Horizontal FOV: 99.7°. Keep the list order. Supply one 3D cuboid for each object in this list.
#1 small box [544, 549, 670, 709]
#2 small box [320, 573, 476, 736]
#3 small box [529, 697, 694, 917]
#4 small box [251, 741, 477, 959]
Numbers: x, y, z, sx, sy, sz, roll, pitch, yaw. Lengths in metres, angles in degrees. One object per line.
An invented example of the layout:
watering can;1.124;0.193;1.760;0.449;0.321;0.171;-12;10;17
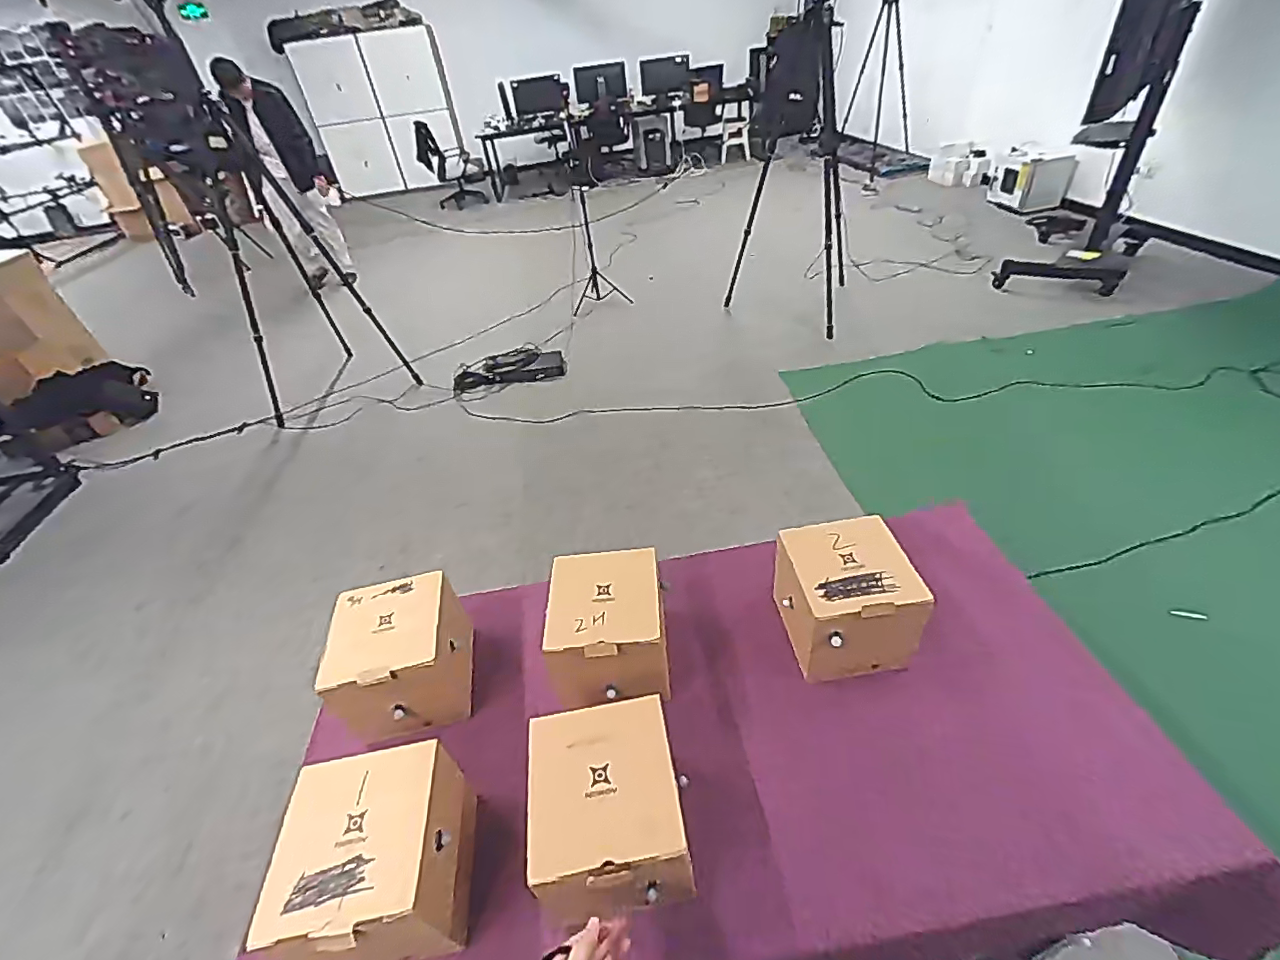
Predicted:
small box;-0.043;0.234;0.853;0.168;0.176;0.179;-6;40;4
small box;-0.367;0.281;0.857;0.168;0.176;0.179;-13;41;-5
small box;-0.032;0.399;0.656;0.168;0.176;0.179;-10;38;-2
small box;-0.302;0.449;0.643;0.168;0.176;0.179;-11;38;-3
